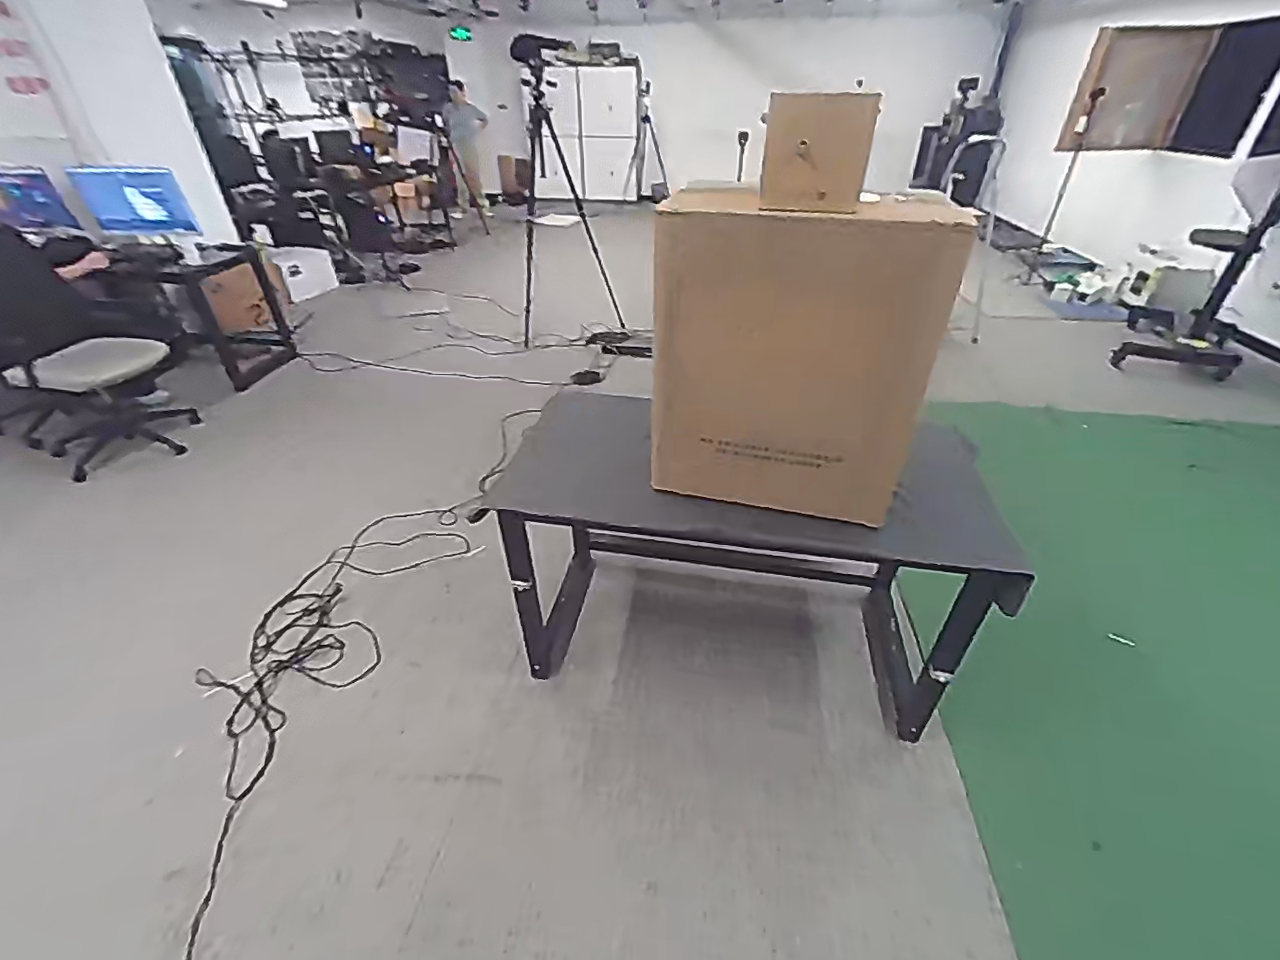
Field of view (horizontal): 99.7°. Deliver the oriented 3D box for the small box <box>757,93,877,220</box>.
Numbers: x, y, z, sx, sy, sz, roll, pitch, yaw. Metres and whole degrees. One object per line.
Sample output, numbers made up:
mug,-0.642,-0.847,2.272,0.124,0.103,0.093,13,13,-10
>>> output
small box,0.297,-0.555,0.929,0.168,0.176,0.179,8,38,12
